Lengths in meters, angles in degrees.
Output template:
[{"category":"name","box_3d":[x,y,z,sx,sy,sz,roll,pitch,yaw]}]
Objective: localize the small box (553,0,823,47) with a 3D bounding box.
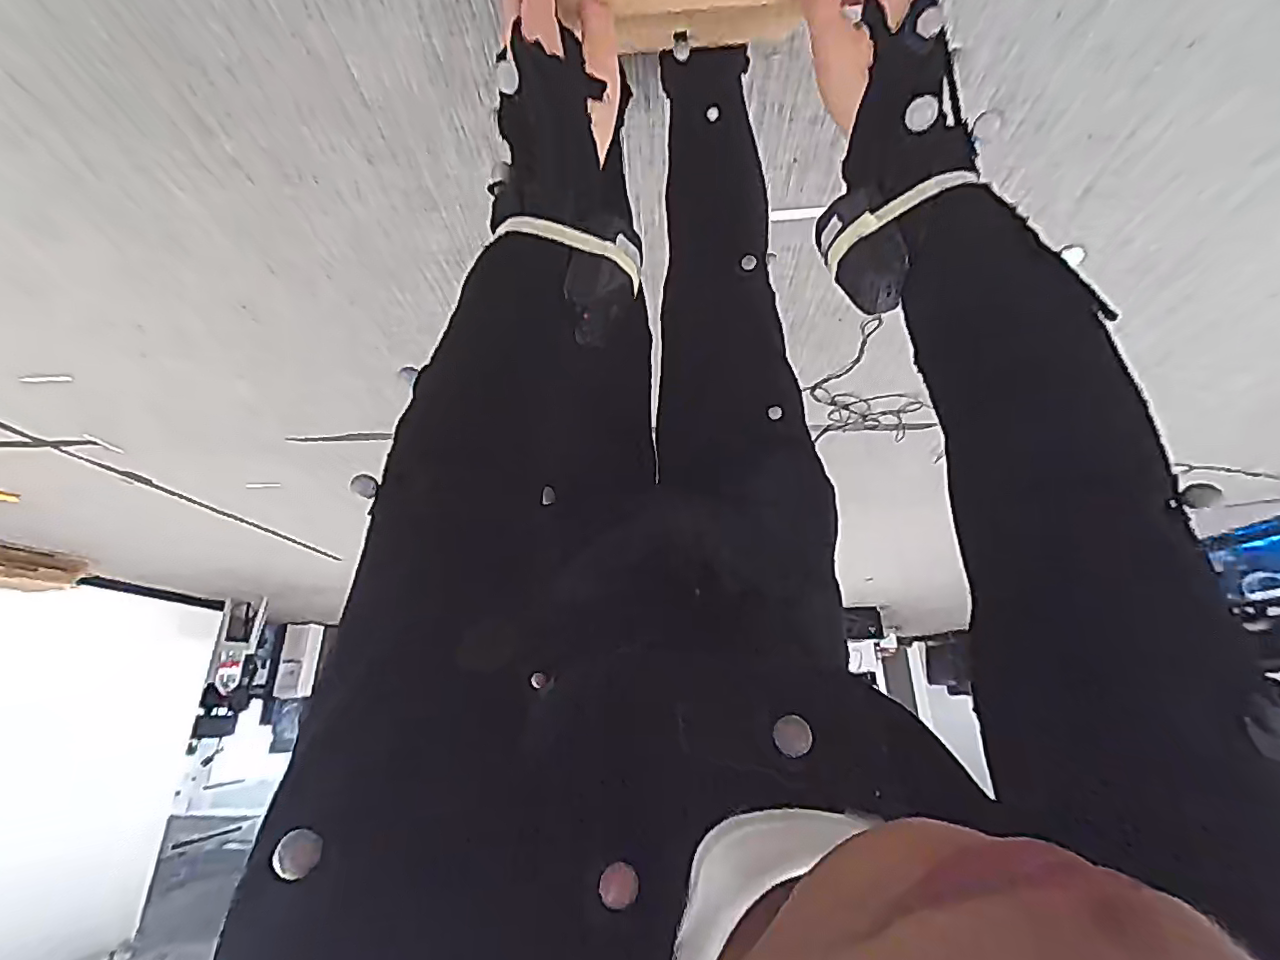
[{"category":"small box","box_3d":[0.031,-0.394,0.342,0.168,0.176,0.179,-1,122,3]}]
